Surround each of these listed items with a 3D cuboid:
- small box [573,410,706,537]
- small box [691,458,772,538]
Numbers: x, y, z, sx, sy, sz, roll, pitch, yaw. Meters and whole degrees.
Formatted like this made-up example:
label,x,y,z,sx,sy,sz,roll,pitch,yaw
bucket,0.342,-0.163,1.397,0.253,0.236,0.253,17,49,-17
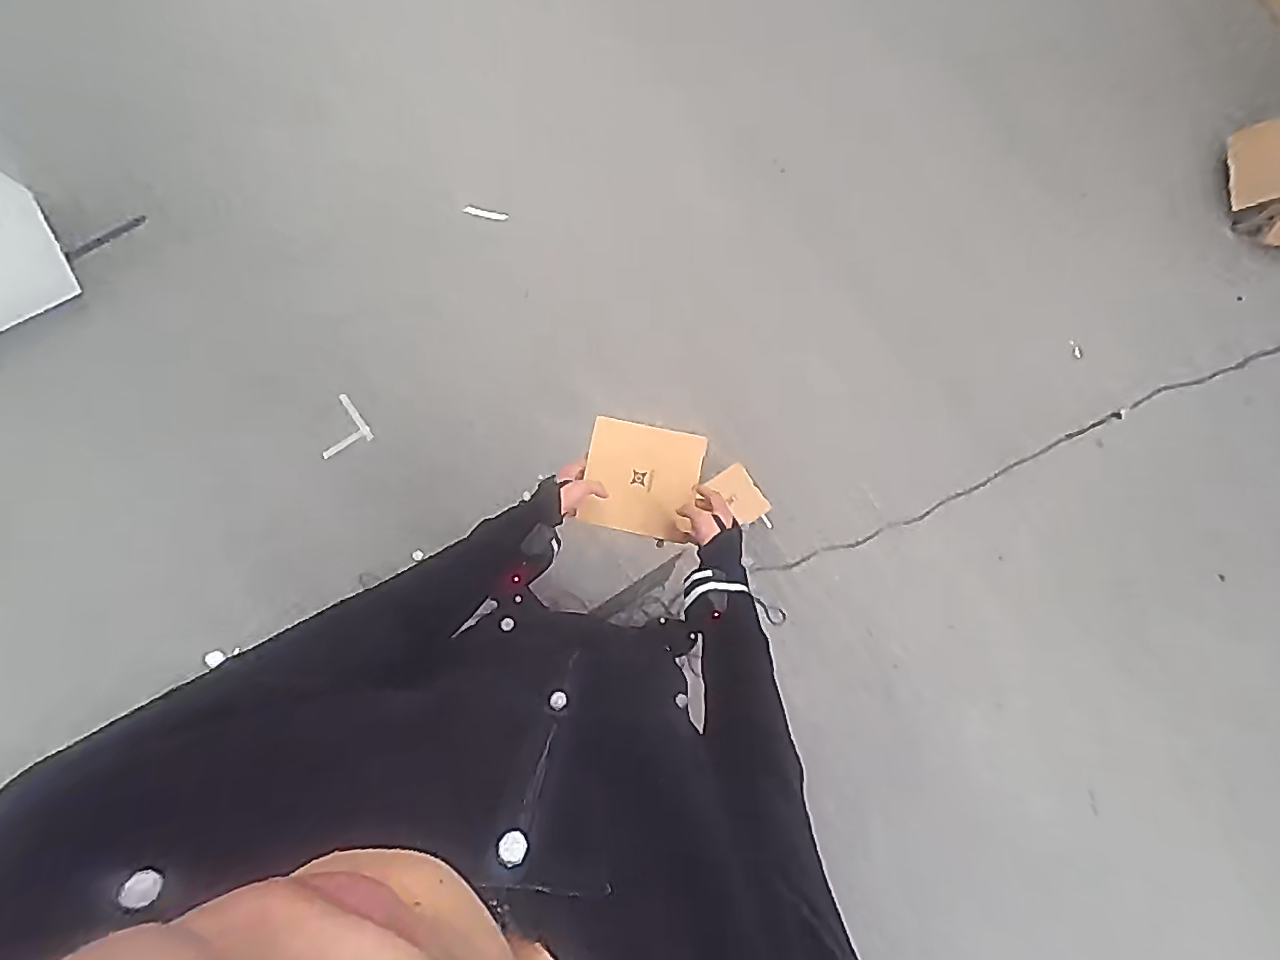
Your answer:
label,x,y,z,sx,sy,sz,roll,pitch,yaw
small box,-0.002,-0.004,0.891,0.179,0.176,0.168,11,87,0
small box,0.257,0.059,1.606,0.179,0.176,0.168,-32,84,-7
